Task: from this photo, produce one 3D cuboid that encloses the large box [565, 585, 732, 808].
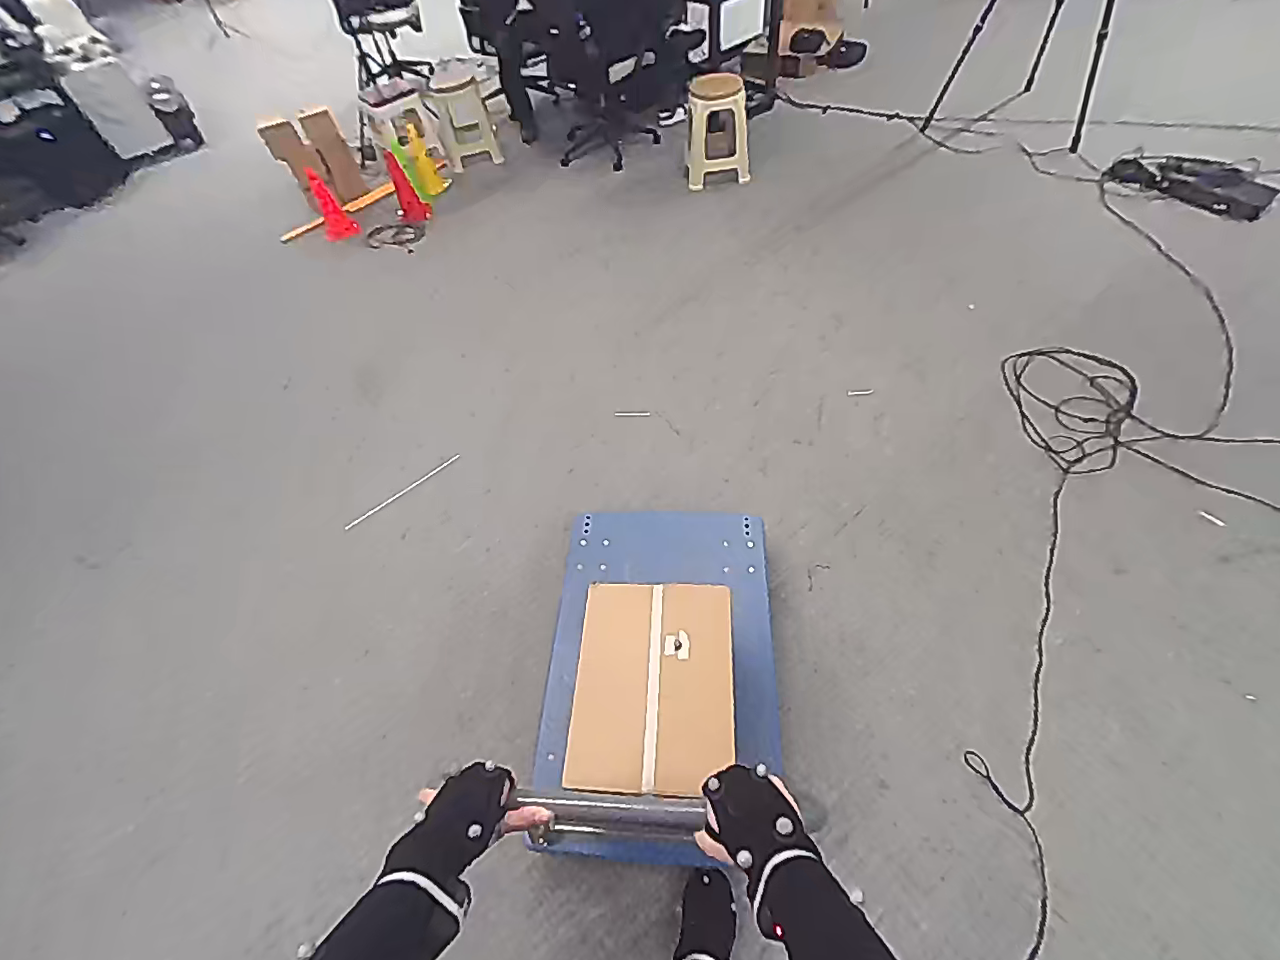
[{"bbox_3d":[0.038,0.486,1.214,0.320,0.320,0.408,0,54,7],"label":"large box"}]
